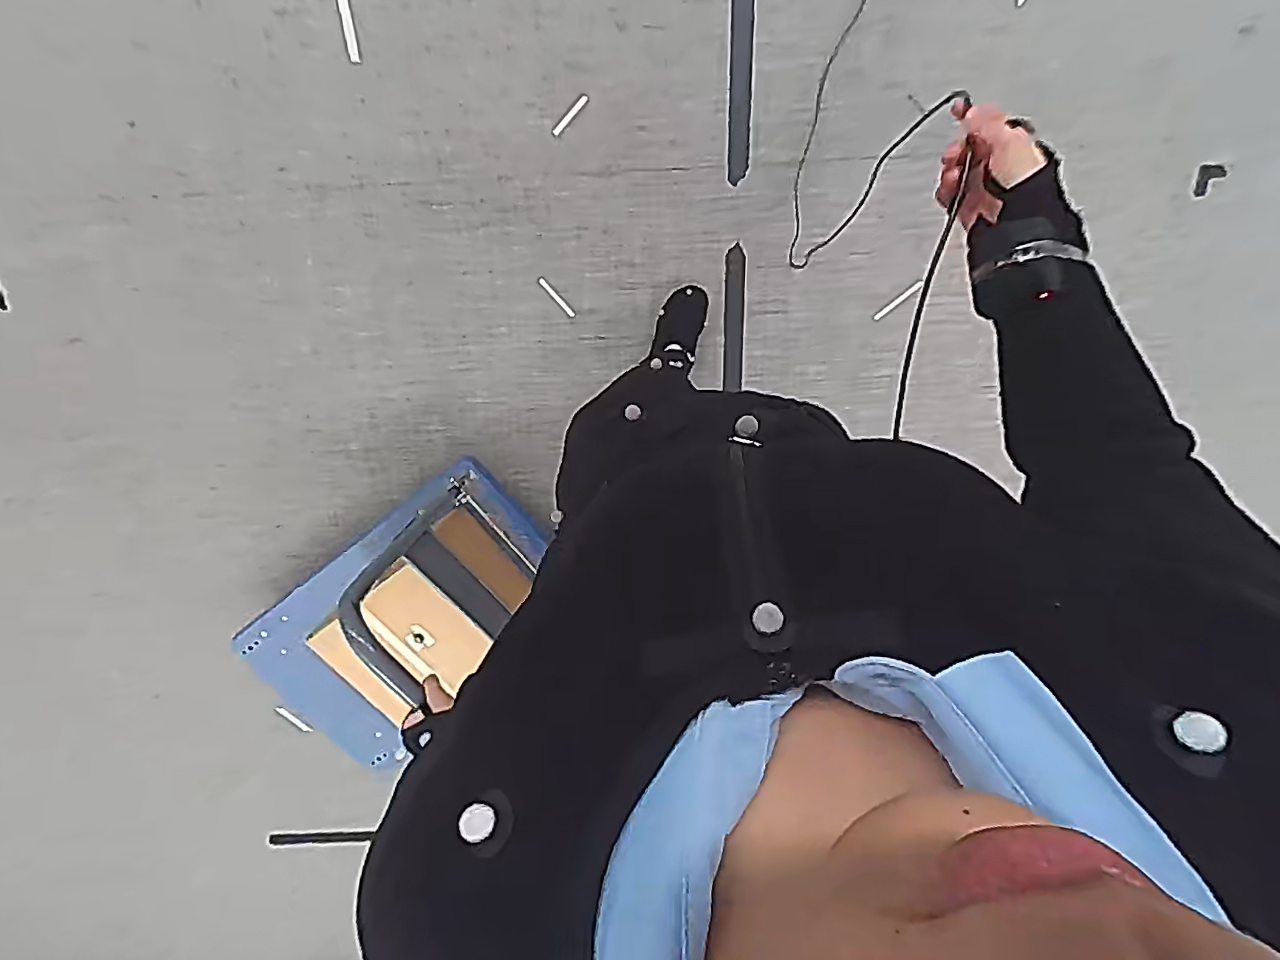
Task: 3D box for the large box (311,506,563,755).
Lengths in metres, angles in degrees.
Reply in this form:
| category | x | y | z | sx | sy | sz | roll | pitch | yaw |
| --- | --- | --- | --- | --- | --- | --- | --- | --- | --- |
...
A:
| category | x | y | z | sx | sy | sz | roll | pitch | yaw |
| --- | --- | --- | --- | --- | --- | --- | --- | --- | --- |
| large box | -0.438 | 0.339 | 1.274 | 0.320 | 0.320 | 0.408 | -36 | 104 | 9 |
